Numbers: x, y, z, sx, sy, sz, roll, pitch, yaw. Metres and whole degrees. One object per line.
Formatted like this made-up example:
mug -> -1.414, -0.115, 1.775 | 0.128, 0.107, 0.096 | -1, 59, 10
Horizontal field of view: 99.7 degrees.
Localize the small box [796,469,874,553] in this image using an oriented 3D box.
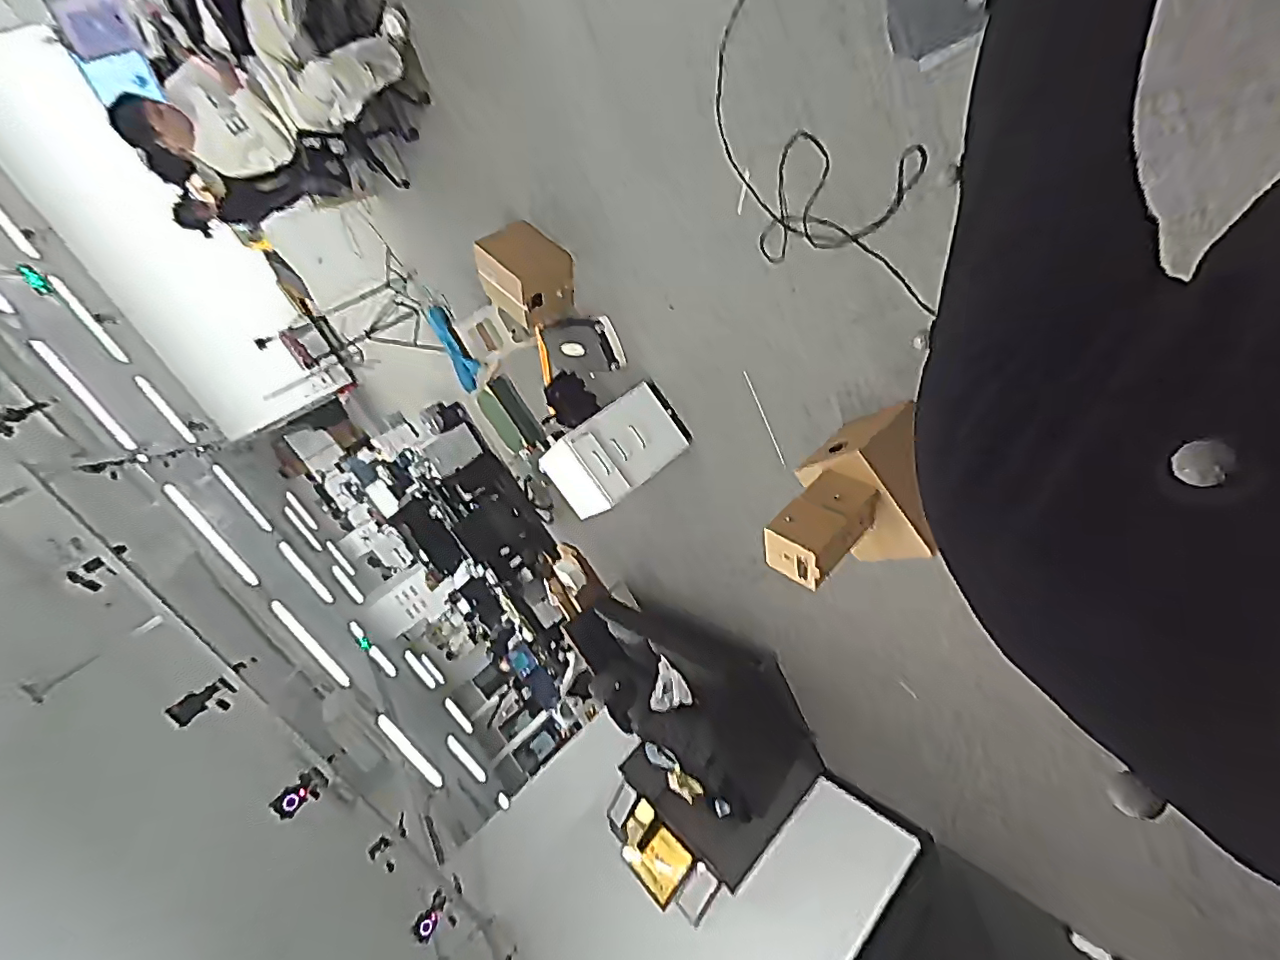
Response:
small box -> 0.614, 0.091, 1.700 | 0.179, 0.176, 0.168 | 27, 145, 39
